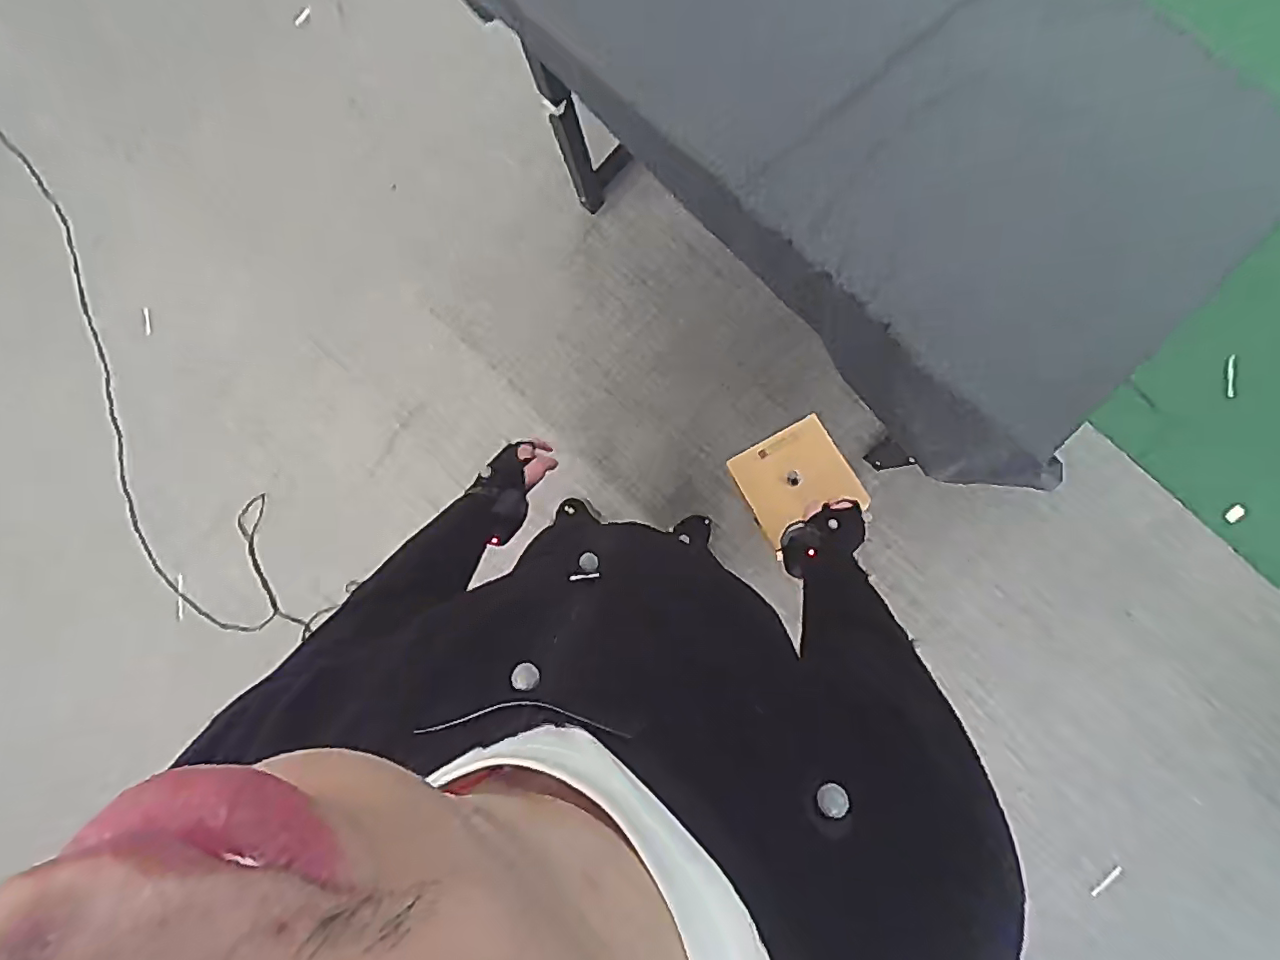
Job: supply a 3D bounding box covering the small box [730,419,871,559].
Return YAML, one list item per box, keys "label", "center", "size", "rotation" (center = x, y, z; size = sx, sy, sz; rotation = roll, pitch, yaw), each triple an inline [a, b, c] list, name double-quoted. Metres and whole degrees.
- label: "small box"
  center: [0.270, 0.018, 0.932]
  size: [0.168, 0.179, 0.176]
  rotation: [-32, 72, 9]
